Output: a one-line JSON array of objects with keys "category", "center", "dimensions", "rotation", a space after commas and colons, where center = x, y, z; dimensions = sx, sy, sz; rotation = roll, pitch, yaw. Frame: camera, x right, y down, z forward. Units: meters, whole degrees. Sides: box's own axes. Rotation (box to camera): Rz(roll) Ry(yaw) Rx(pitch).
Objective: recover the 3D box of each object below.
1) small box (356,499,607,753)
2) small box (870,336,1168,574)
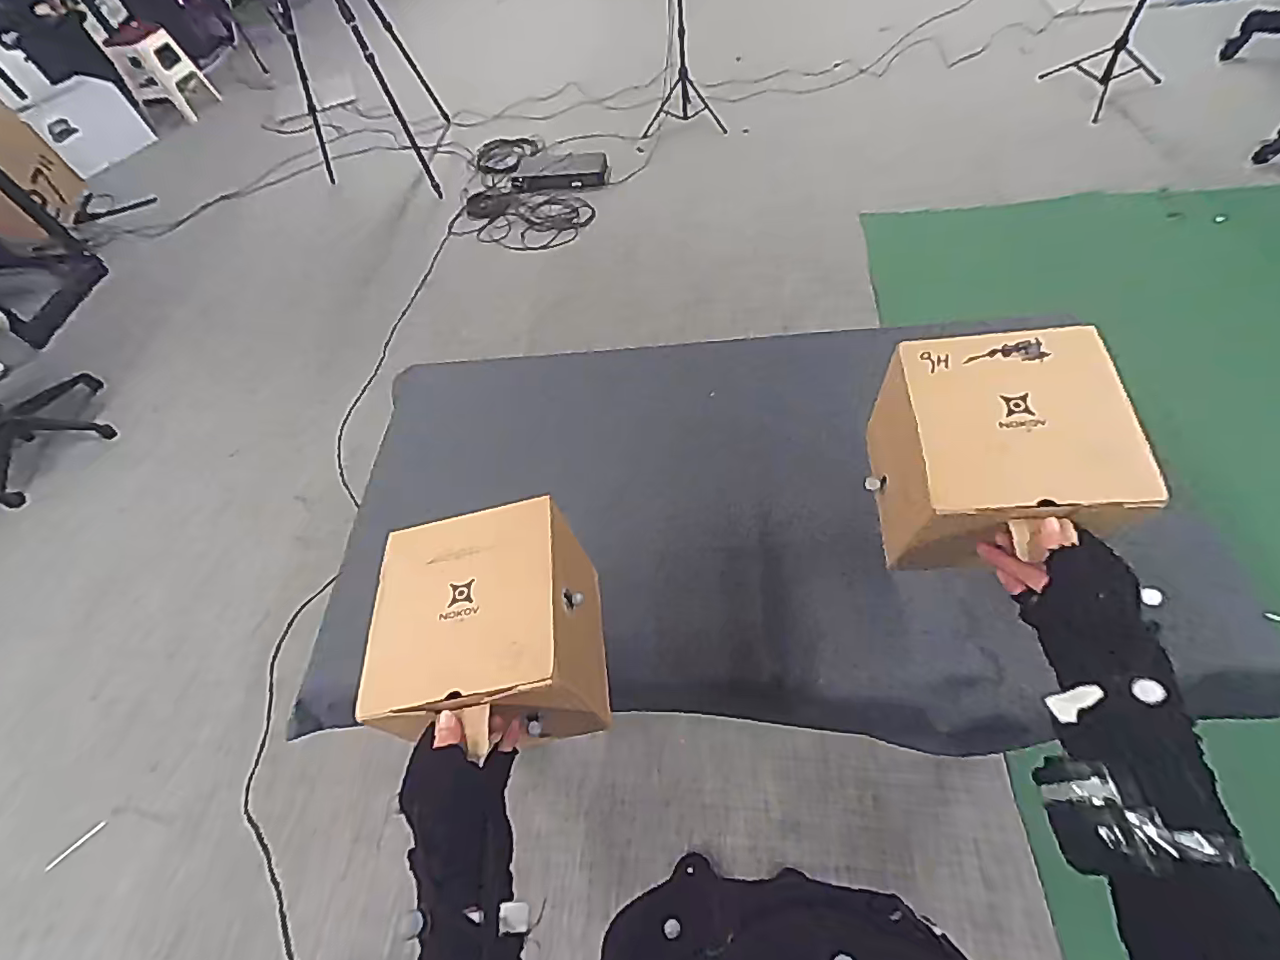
[{"category": "small box", "center": [-0.134, 0.149, 0.521], "dimensions": [0.168, 0.176, 0.179], "rotation": [-13, 51, 5]}, {"category": "small box", "center": [0.332, -0.011, 0.522], "dimensions": [0.168, 0.176, 0.179], "rotation": [-3, 64, 10]}]
